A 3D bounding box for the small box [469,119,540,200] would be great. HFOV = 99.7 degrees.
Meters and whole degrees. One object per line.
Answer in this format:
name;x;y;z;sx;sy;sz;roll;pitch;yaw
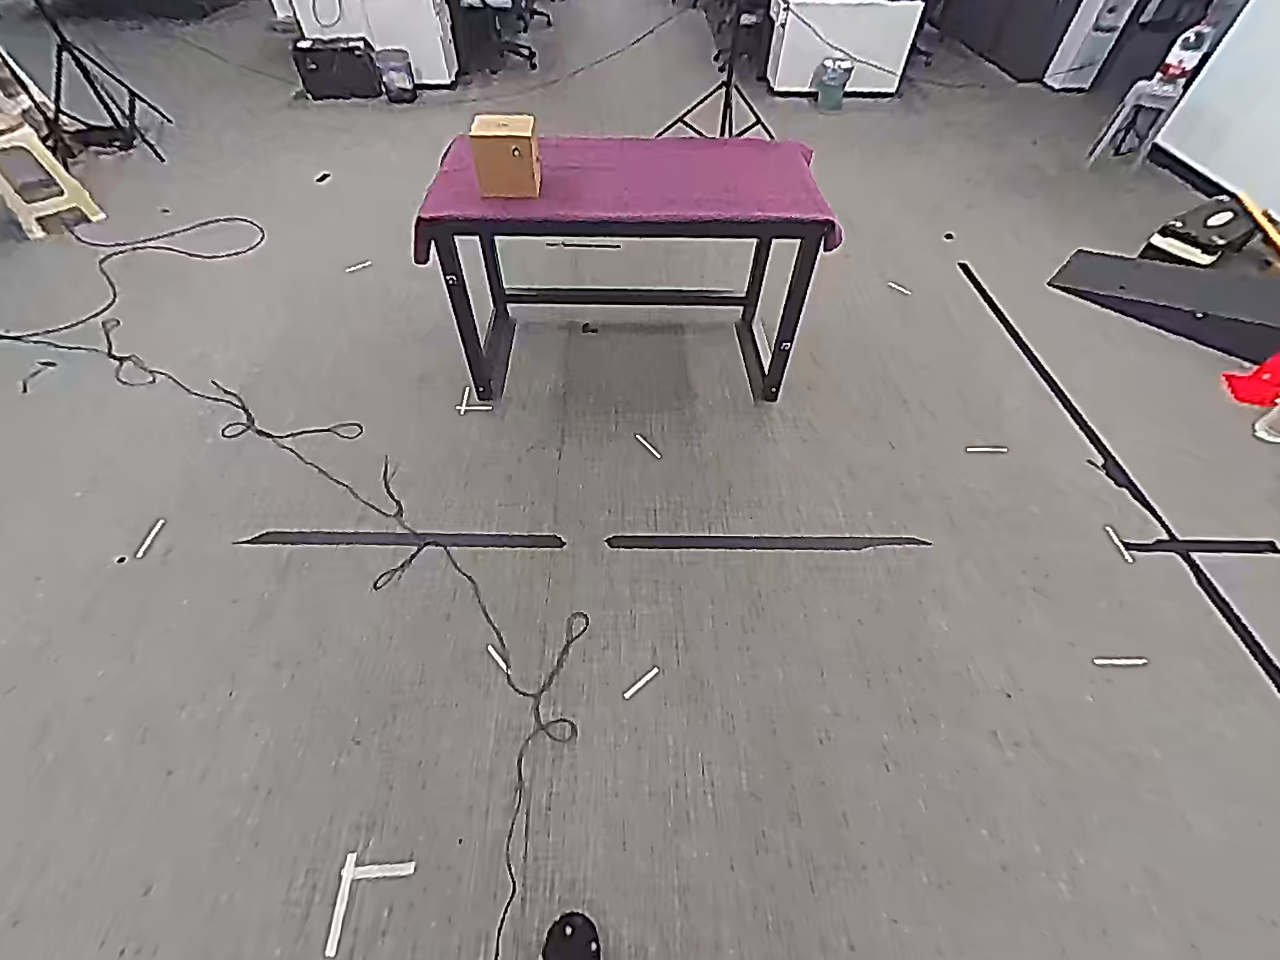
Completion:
small box;-0.396;-0.954;1.616;0.179;0.176;0.168;-2;50;-3
